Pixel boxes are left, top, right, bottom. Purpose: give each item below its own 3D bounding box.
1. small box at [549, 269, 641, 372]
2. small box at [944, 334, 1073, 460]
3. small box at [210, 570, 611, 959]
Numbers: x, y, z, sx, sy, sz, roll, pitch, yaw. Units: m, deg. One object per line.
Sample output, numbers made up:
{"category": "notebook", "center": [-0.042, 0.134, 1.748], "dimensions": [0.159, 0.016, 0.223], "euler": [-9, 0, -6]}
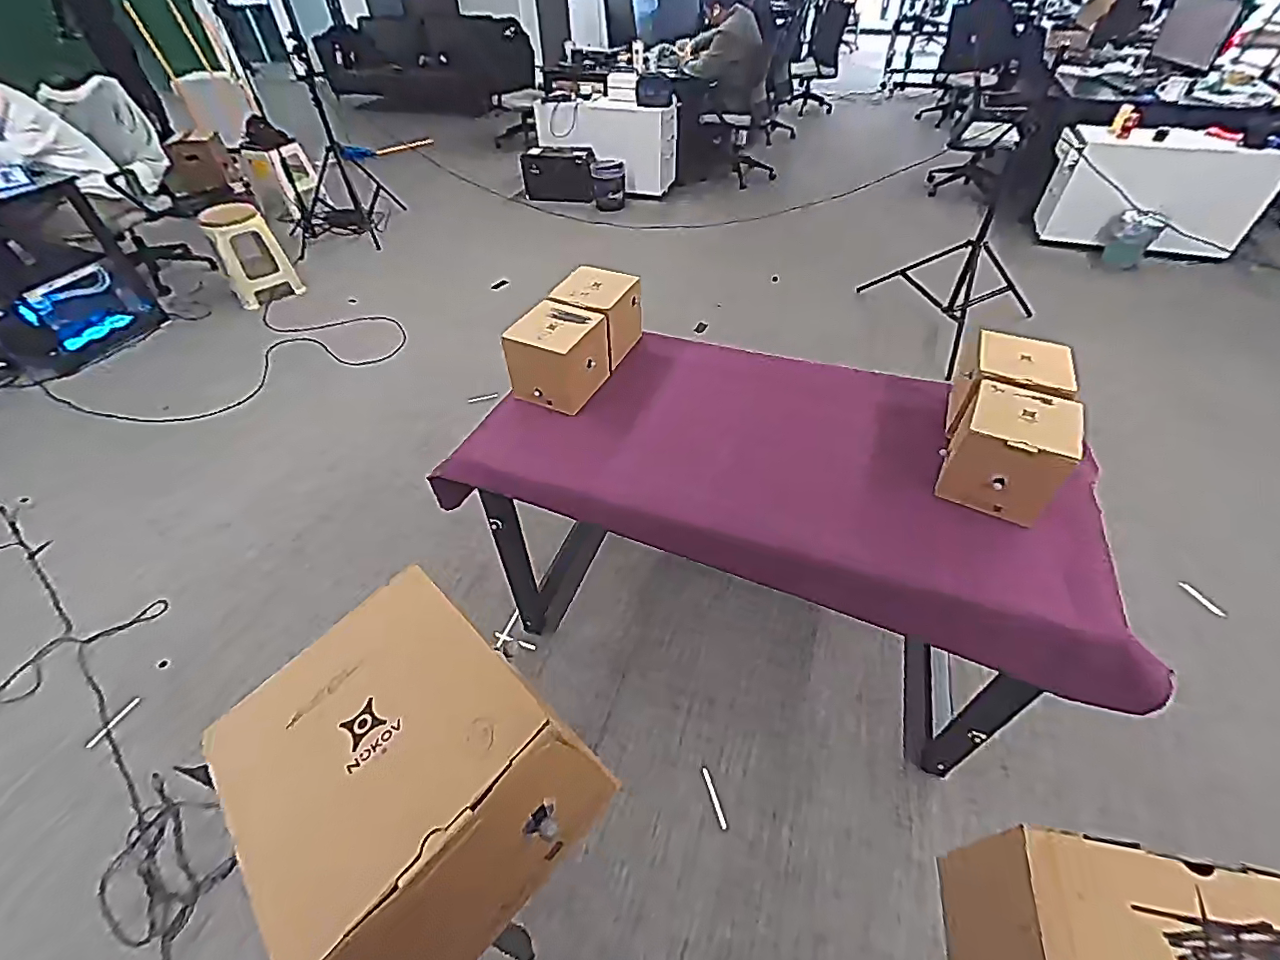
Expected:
{"category": "small box", "center": [-0.108, -0.400, 1.357], "dimensions": [0.168, 0.176, 0.179], "euler": [18, 49, 18]}
{"category": "small box", "center": [0.750, -0.172, 1.119], "dimensions": [0.168, 0.176, 0.179], "euler": [18, 48, 17]}
{"category": "small box", "center": [-0.145, 0.205, 0.386], "dimensions": [0.179, 0.176, 0.168], "euler": [30, 62, 35]}
